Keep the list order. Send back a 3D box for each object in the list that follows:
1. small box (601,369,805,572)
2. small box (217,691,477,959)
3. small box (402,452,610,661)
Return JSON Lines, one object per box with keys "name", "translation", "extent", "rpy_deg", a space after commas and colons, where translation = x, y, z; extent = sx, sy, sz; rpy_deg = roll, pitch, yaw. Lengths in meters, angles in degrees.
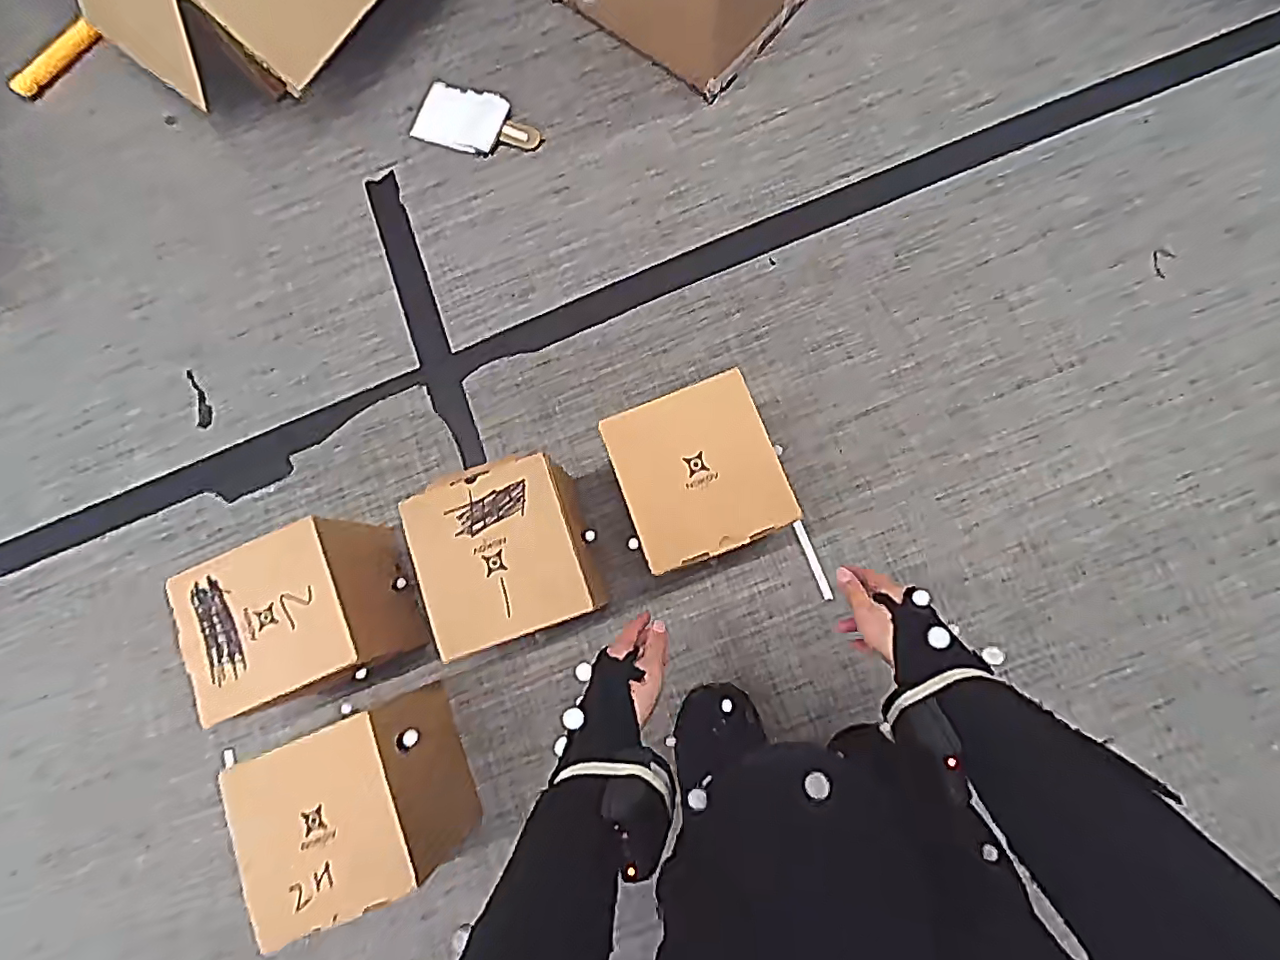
{"name": "small box", "translation": [0.065, 0.001, 0.636], "extent": [0.168, 0.176, 0.179], "rpy_deg": [-21, 80, -1]}
{"name": "small box", "translation": [-0.305, 0.351, 0.595], "extent": [0.168, 0.176, 0.179], "rpy_deg": [-23, 80, 0]}
{"name": "small box", "translation": [-0.143, 0.089, 0.632], "extent": [0.168, 0.176, 0.179], "rpy_deg": [-20, 81, 0]}
